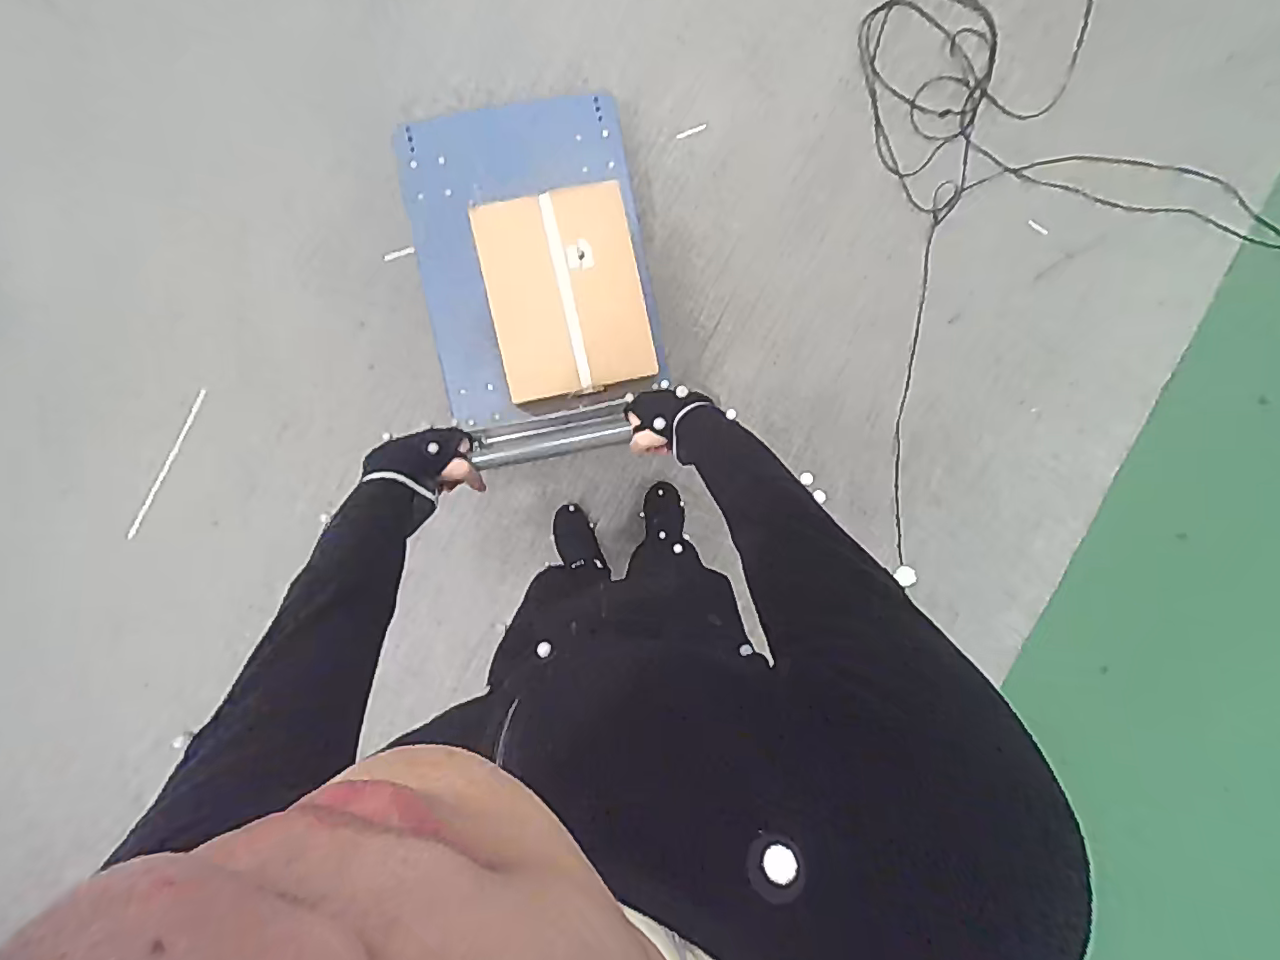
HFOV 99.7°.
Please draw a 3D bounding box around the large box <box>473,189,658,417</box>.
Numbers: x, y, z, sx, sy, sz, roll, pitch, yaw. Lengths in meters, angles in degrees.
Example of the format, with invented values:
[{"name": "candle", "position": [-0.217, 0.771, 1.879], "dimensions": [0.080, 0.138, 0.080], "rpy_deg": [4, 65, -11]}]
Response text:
[{"name": "large box", "position": [-0.162, -0.388, 1.279], "dimensions": [0.320, 0.320, 0.408], "rpy_deg": [-12, 93, -4]}]
